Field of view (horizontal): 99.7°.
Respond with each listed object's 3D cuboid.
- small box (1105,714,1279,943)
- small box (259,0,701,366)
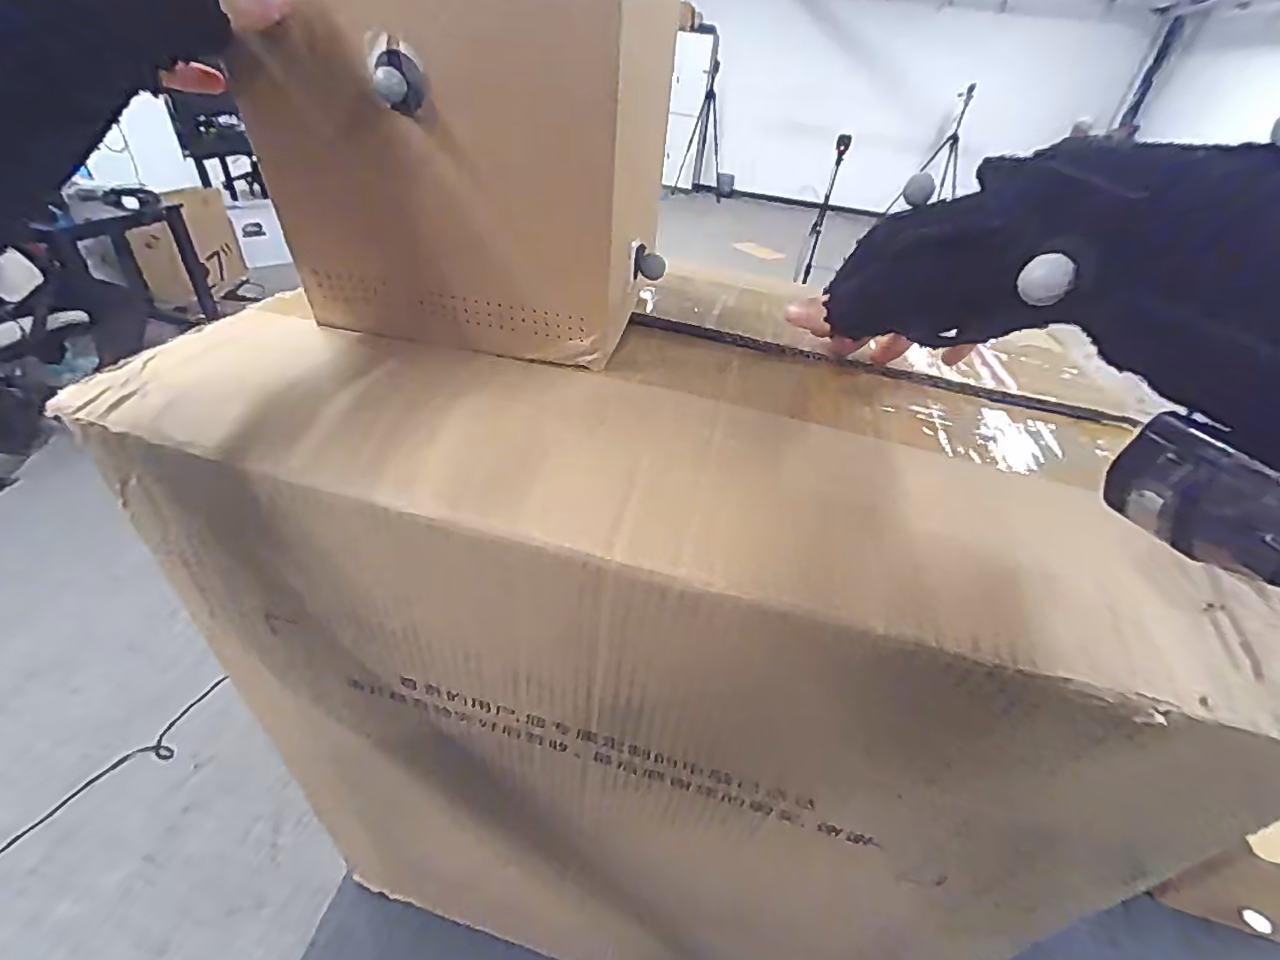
[{"bbox_3d":[0.762,0.447,0.700,0.168,0.176,0.179,14,39,9],"label":"small box"},{"bbox_3d":[-0.071,-0.187,0.318,0.179,0.176,0.168,12,45,3],"label":"small box"}]
